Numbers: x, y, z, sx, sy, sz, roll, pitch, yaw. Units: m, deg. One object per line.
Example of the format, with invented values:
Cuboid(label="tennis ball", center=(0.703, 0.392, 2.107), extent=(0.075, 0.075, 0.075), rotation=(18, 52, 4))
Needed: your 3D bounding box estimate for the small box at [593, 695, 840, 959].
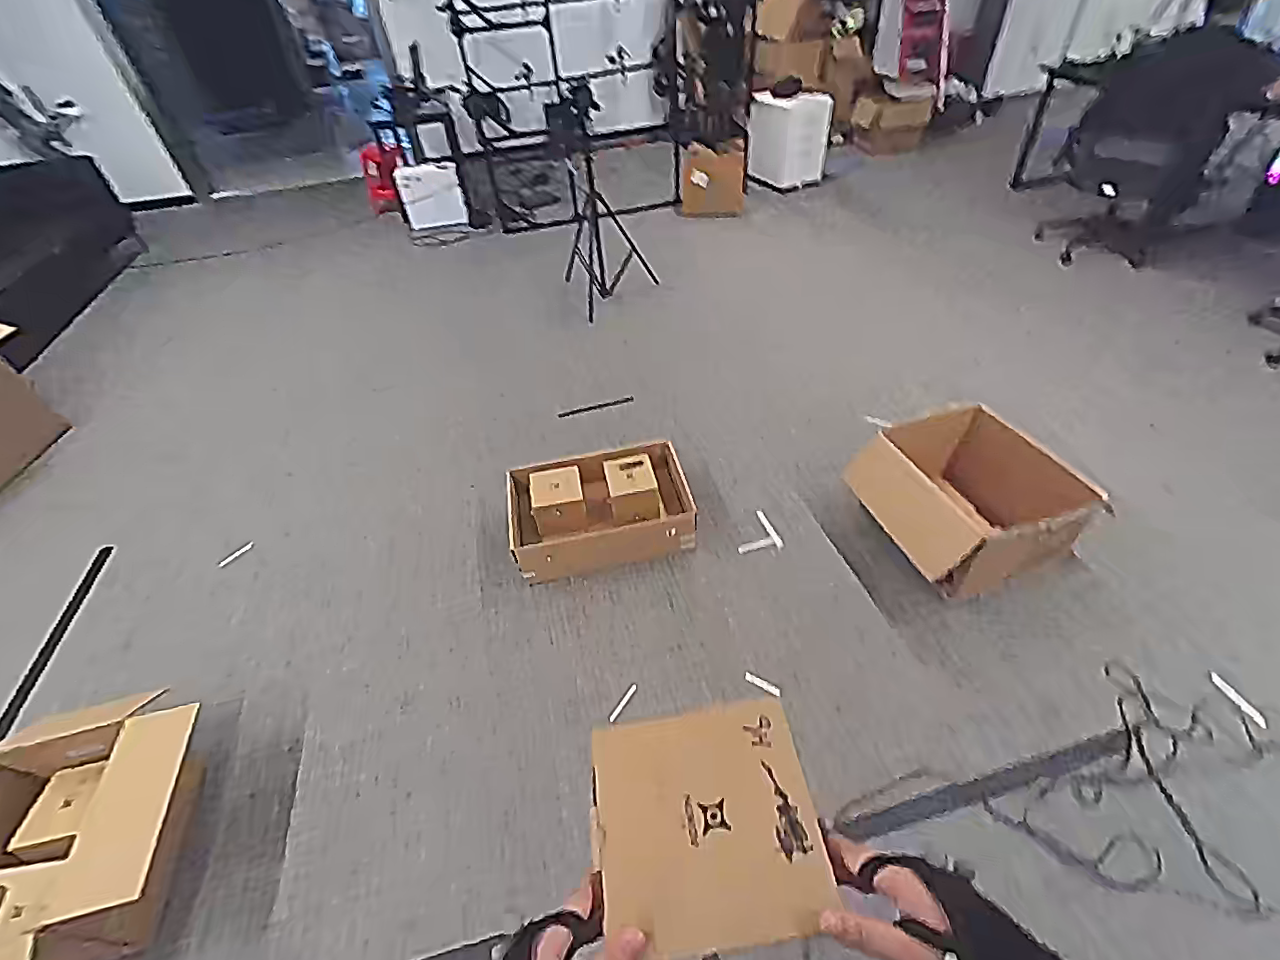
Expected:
Cuboid(label="small box", center=(0.064, 0.325, 0.499), extent=(0.179, 0.176, 0.168), rotation=(-11, 47, 1))

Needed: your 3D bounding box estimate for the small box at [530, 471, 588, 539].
Cuboid(label="small box", center=(-0.289, 0.094, 1.933), extent=(0.179, 0.176, 0.168), rotation=(-9, 46, -7))
